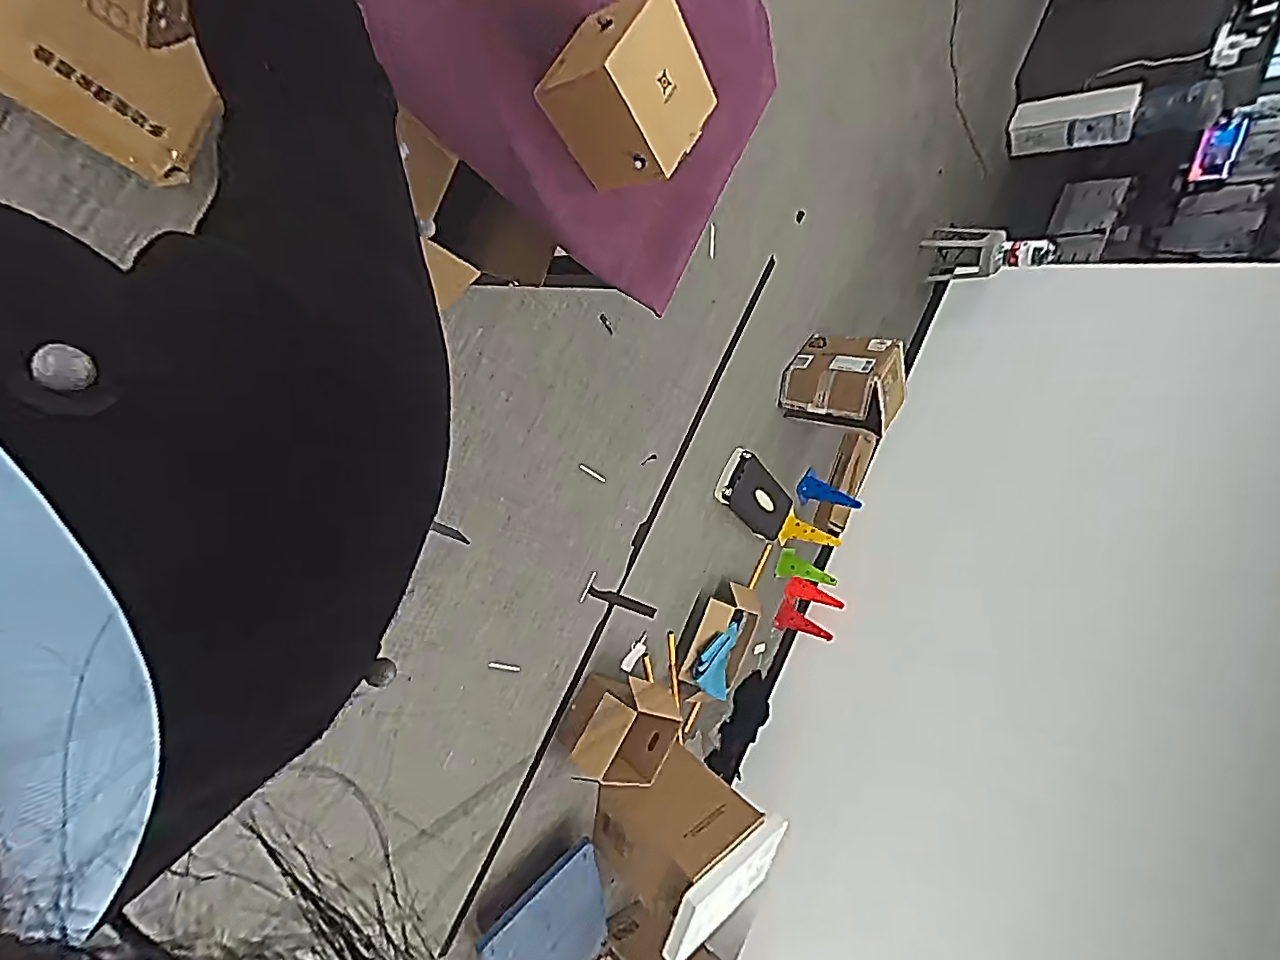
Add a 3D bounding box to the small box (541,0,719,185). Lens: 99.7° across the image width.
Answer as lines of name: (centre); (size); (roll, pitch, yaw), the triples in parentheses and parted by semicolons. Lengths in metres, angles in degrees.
small box: (-0.016, -0.577, 0.816); (0.179, 0.176, 0.168); (42, 74, -48)
